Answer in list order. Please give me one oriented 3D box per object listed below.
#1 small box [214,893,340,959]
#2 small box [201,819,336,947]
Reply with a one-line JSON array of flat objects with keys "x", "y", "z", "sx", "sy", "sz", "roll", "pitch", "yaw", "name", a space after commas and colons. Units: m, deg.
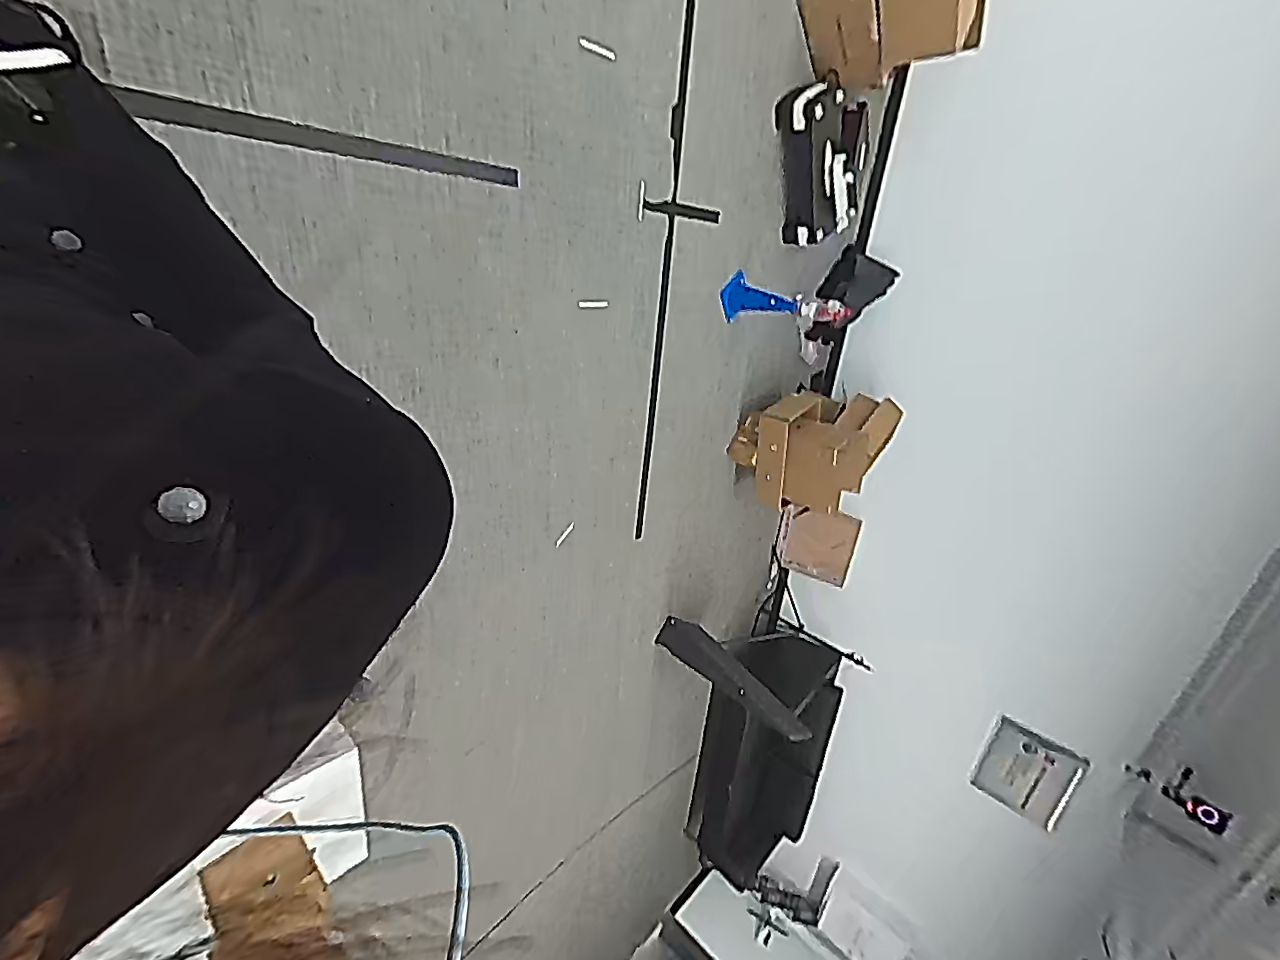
[{"x": -0.678, "y": 0.945, "z": 1.030, "sx": 0.168, "sy": 0.176, "sz": 0.179, "roll": -24, "pitch": 128, "yaw": -42, "name": "small box"}, {"x": -0.778, "y": 0.870, "z": 1.137, "sx": 0.179, "sy": 0.176, "sz": 0.168, "roll": -24, "pitch": 127, "yaw": -41, "name": "small box"}]
